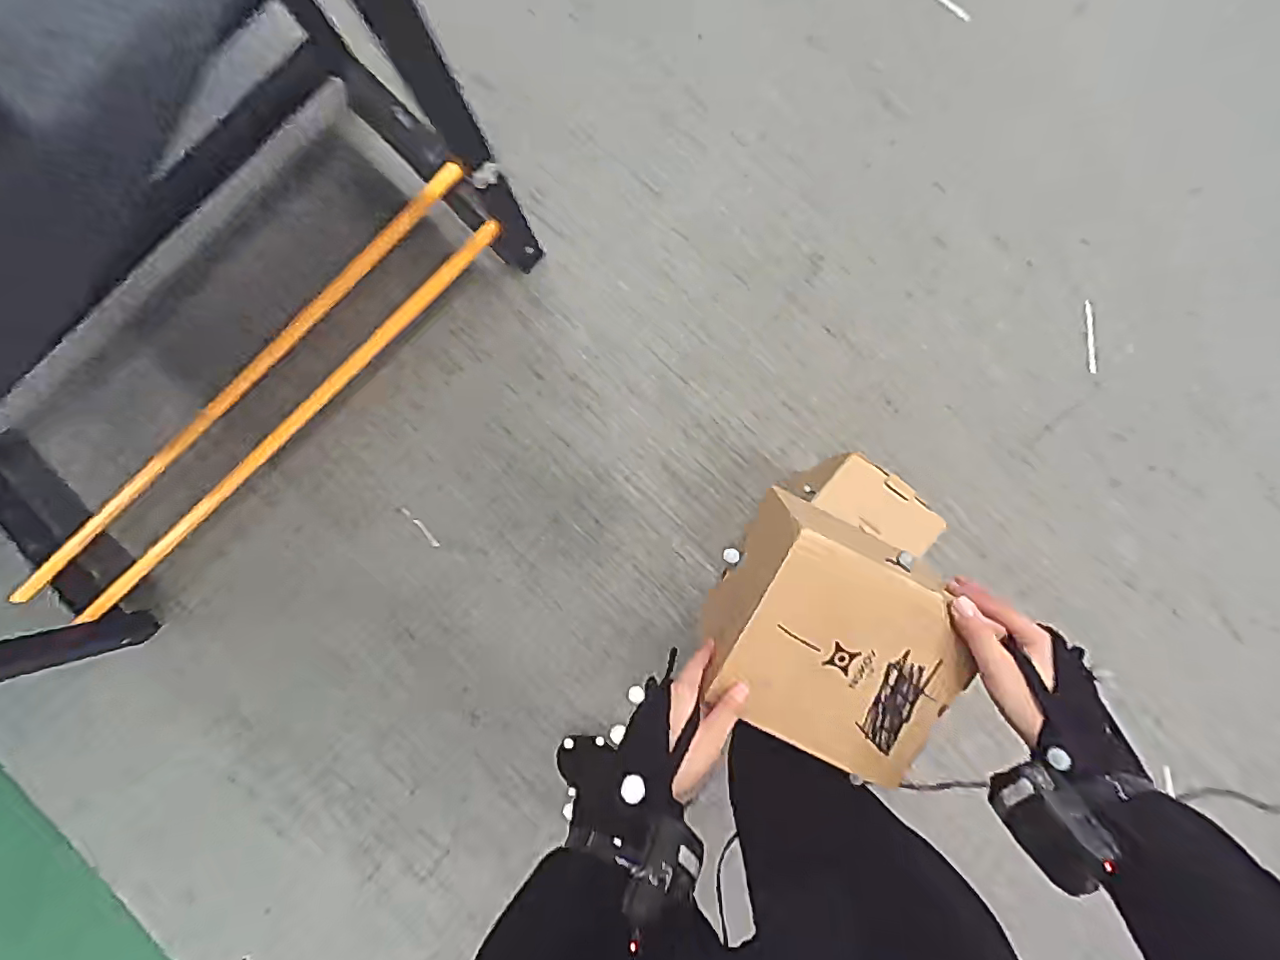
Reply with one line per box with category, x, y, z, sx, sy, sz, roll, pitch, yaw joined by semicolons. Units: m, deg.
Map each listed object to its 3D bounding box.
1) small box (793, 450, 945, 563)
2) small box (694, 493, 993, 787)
small box;0.321;0.076;0.846;0.168;0.176;0.179;39;91;5
small box;0.163;0.128;0.501;0.179;0.176;0.168;26;102;0
